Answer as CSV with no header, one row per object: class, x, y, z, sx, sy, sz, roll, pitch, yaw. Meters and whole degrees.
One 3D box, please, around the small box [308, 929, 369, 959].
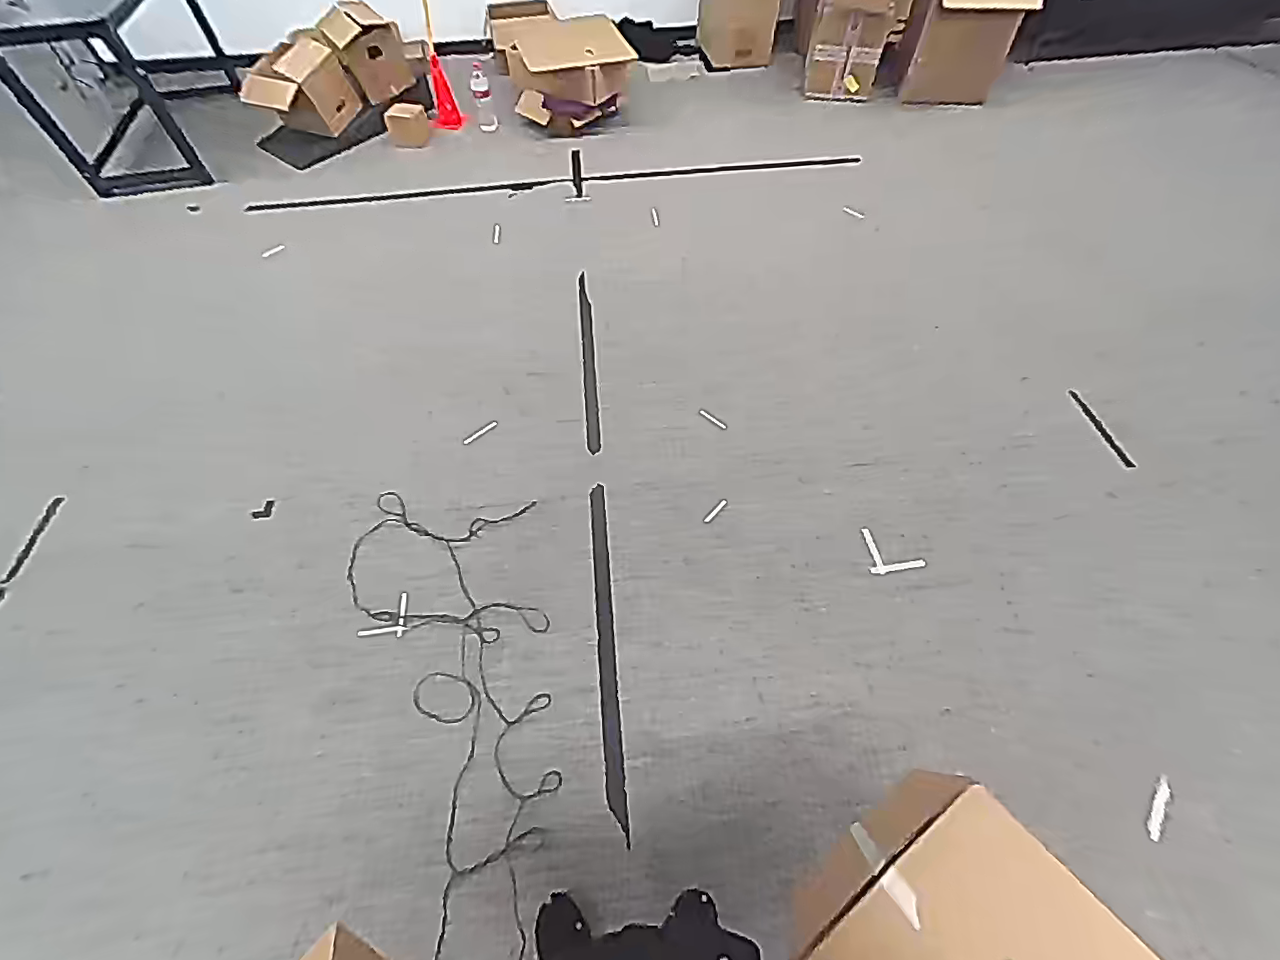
small box,-0.374,0.710,0.641,0.168,0.179,0.176,-44,102,-24
